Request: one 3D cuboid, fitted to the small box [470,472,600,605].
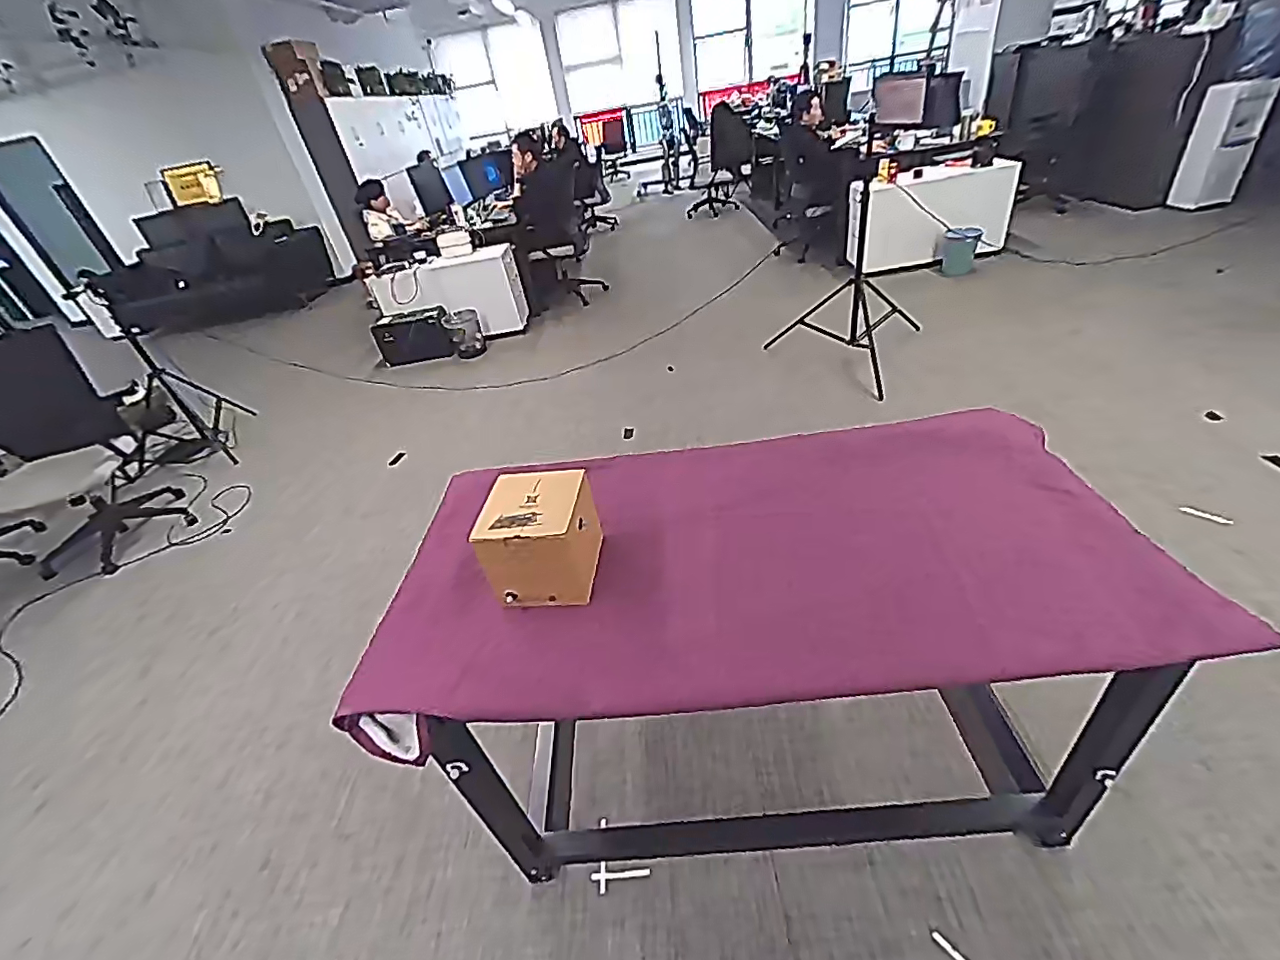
[{"bbox_3d":[-0.174,0.108,0.965,0.168,0.176,0.179,-4,36,10],"label":"small box"}]
